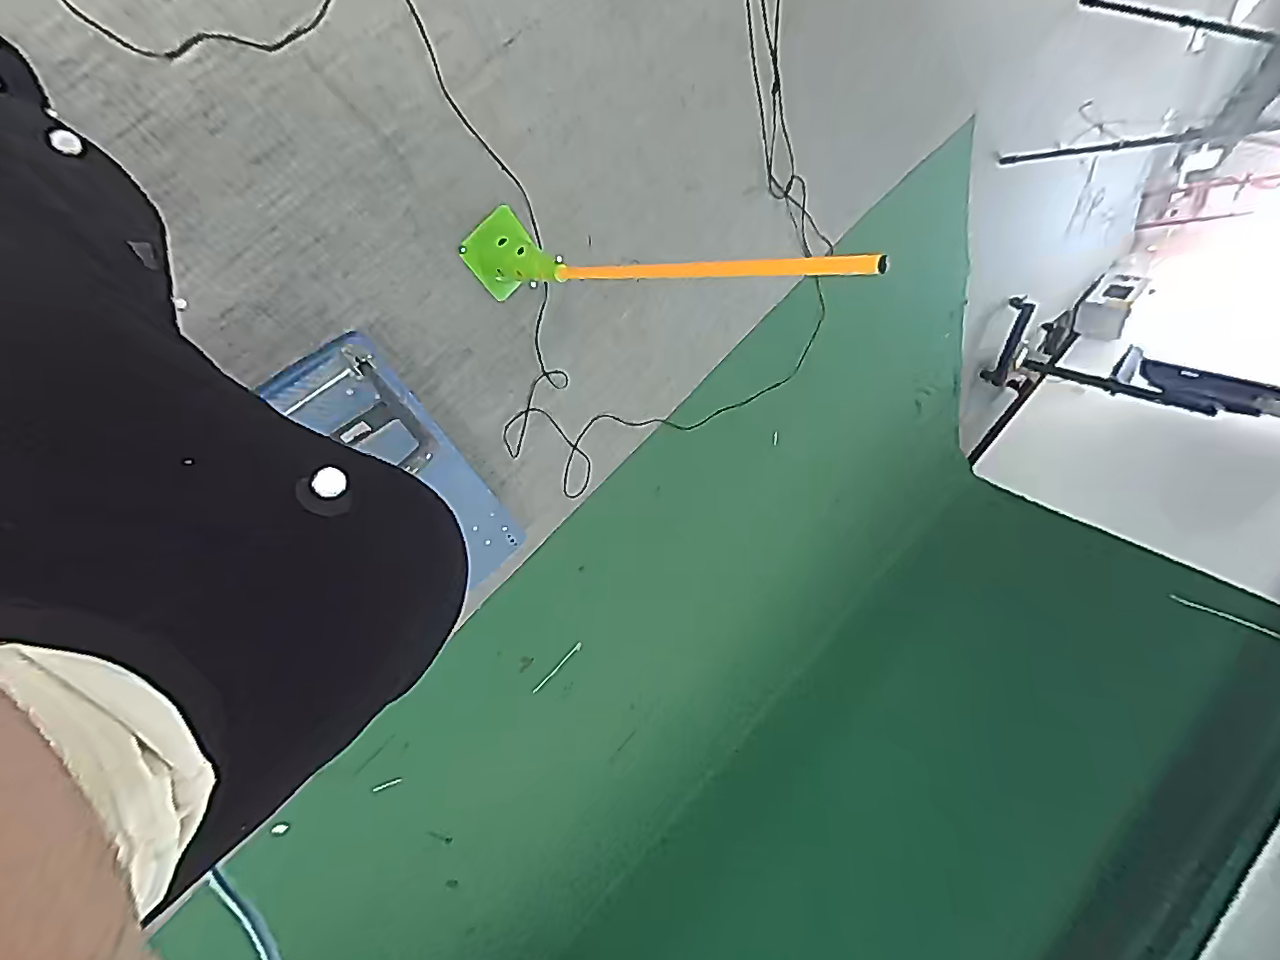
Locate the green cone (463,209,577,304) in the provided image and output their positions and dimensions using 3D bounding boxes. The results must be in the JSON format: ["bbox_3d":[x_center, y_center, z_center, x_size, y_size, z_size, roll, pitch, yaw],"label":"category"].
[{"bbox_3d":[-0.285,-0.578,1.462,0.202,0.368,0.200,-50,137,-7],"label":"green cone"}]
